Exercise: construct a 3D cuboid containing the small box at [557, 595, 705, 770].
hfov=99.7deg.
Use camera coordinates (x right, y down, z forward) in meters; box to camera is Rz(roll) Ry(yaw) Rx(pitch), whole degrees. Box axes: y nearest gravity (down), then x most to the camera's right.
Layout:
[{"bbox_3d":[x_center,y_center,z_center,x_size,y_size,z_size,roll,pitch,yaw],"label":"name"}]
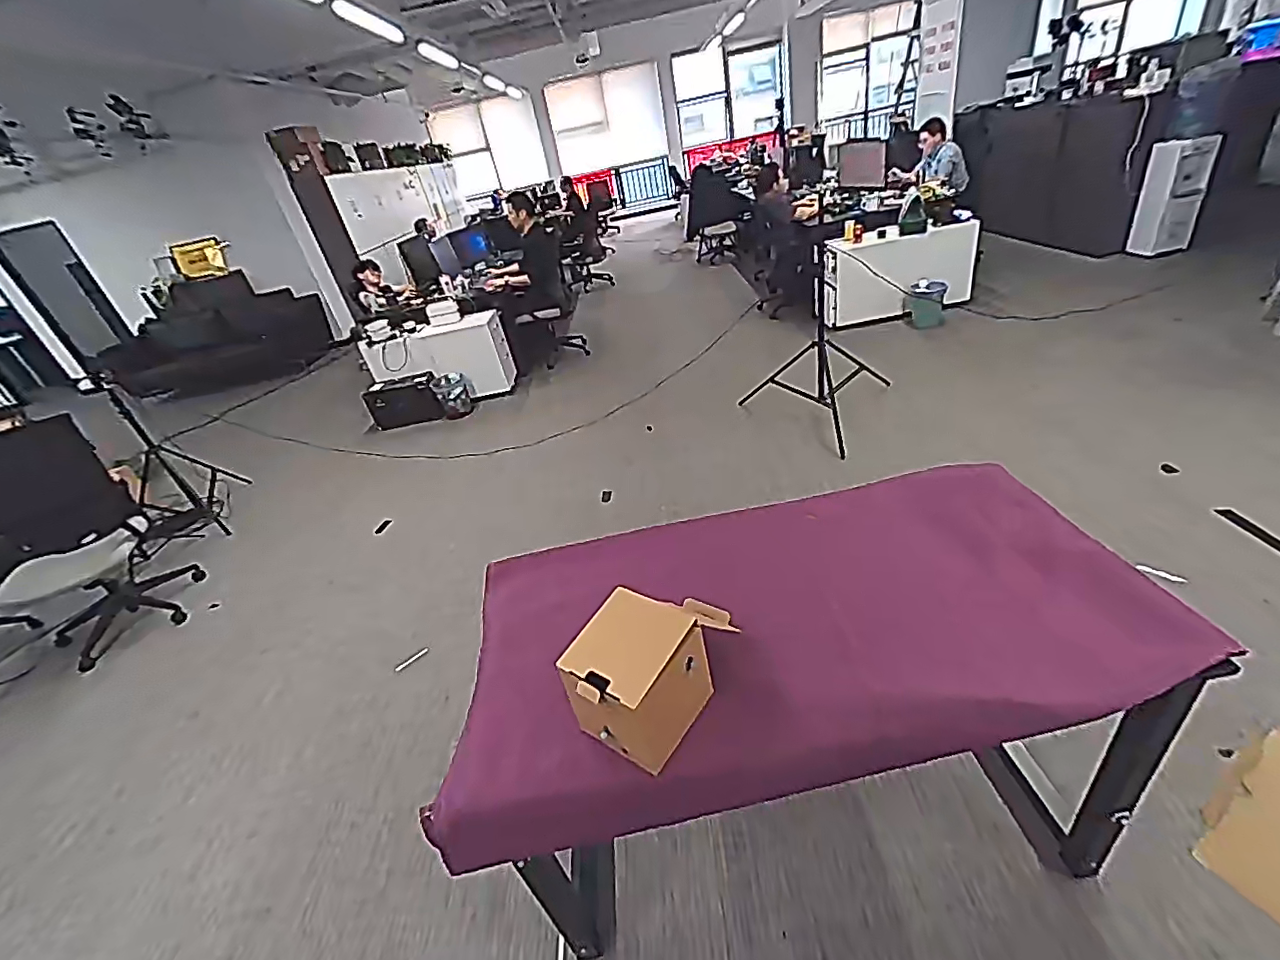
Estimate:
[{"bbox_3d":[-0.005,0.328,0.893,0.168,0.176,0.179,13,39,37],"label":"small box"}]
